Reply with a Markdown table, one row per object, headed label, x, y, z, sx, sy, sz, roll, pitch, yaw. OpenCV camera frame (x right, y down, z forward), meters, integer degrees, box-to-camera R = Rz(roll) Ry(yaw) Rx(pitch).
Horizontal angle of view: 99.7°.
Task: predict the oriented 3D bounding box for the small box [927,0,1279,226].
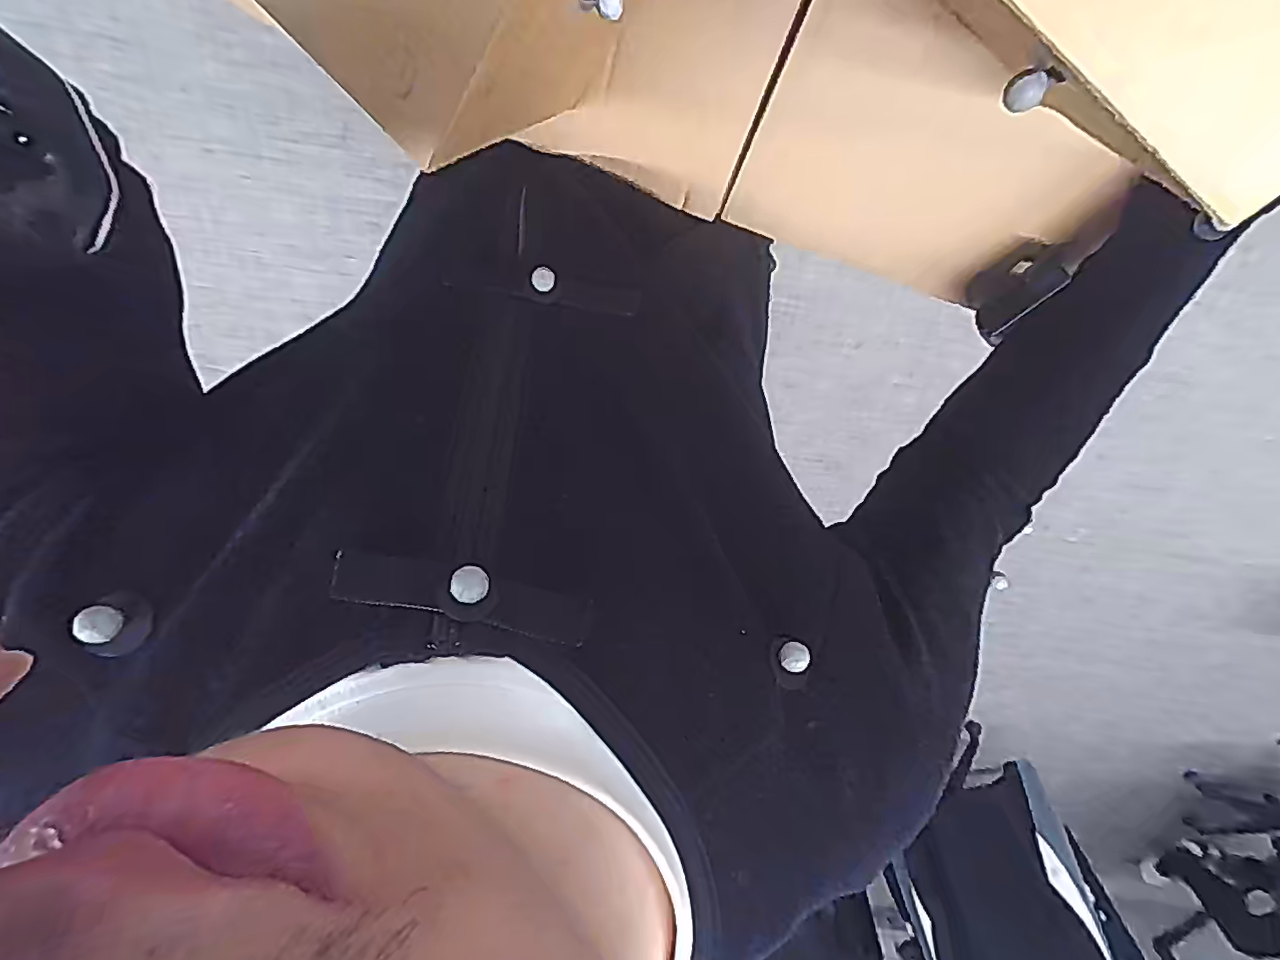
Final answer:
| label | x | y | z | sx | sy | sz | roll | pitch | yaw |
| --- | --- | --- | --- | --- | --- | --- | --- | --- | --- |
| small box | 0.222 | -0.249 | 0.213 | 0.179 | 0.176 | 0.168 | 25 | 136 | -18 |
